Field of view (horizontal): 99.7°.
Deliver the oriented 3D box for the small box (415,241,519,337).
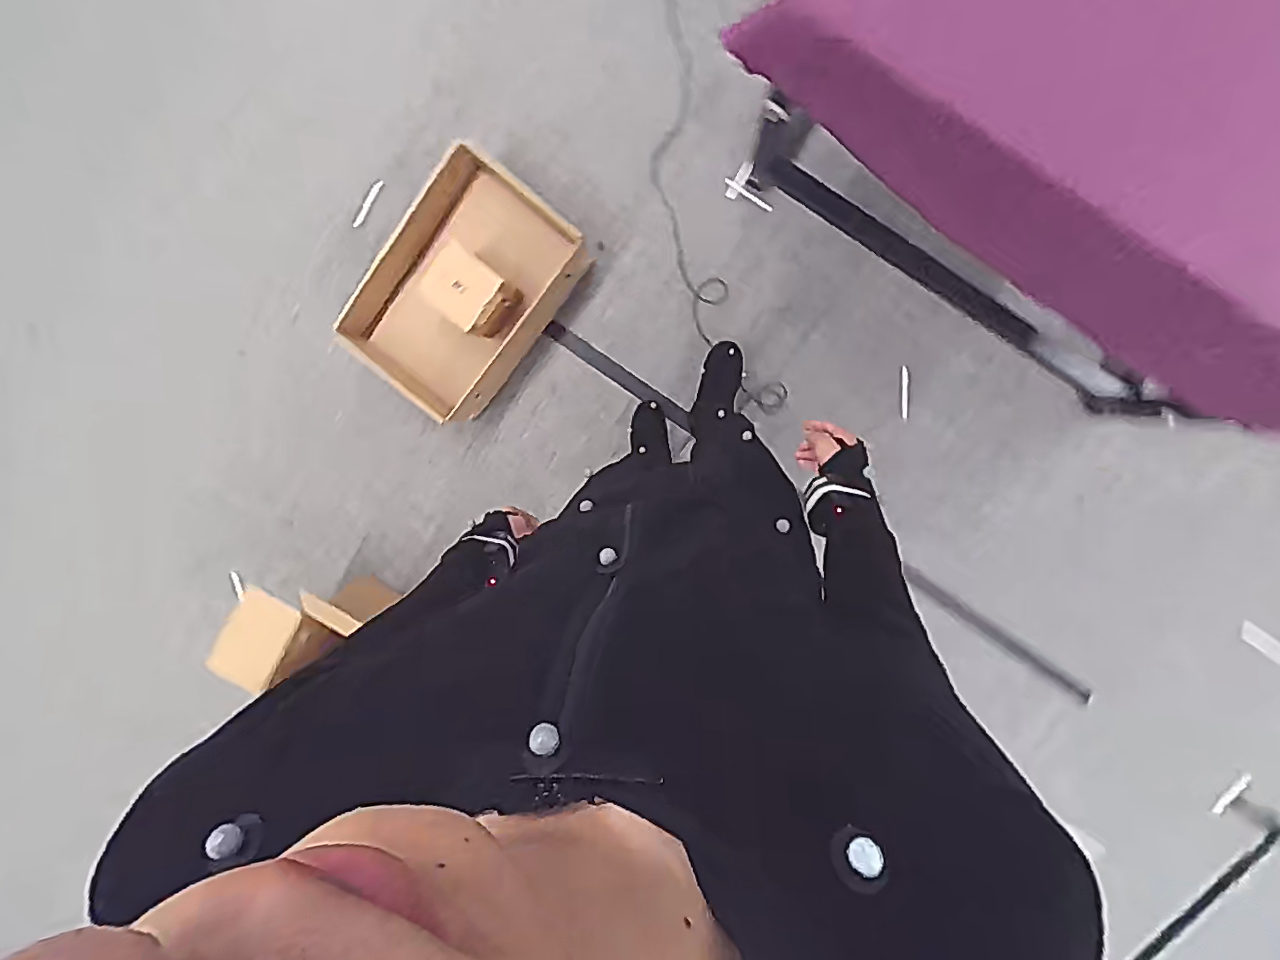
[{"bbox_3d":[-0.454,-0.501,1.449,0.179,0.176,0.168,39,100,-2],"label":"small box"}]
